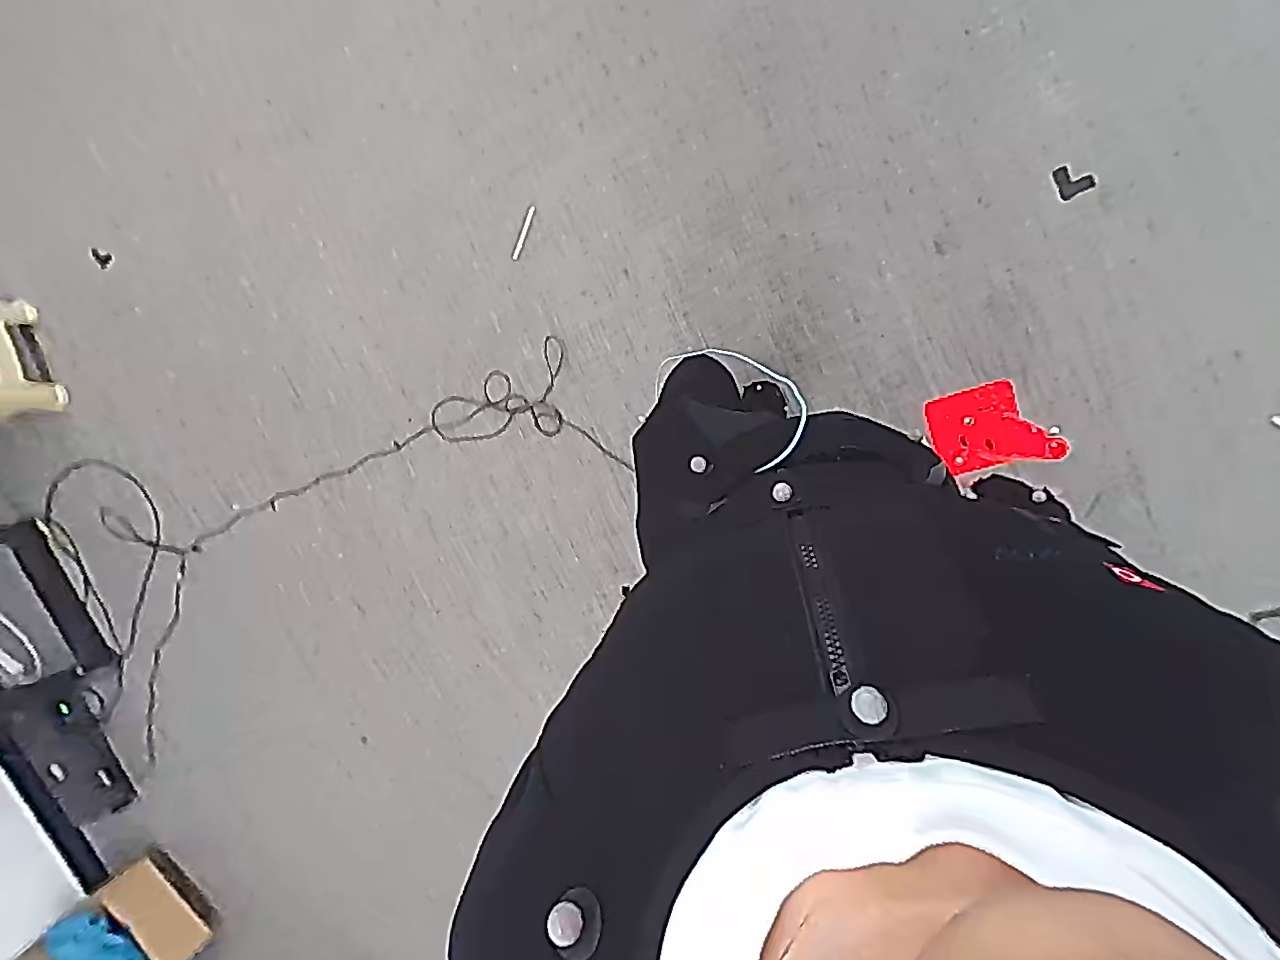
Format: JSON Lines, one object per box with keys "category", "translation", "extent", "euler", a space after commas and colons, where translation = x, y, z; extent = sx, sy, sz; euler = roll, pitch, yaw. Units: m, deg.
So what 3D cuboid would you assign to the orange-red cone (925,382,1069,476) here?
{"category": "orange-red cone", "translation": [0.775, -0.089, 1.131], "extent": [0.199, 0.360, 0.198], "euler": [-16, 98, 12]}
